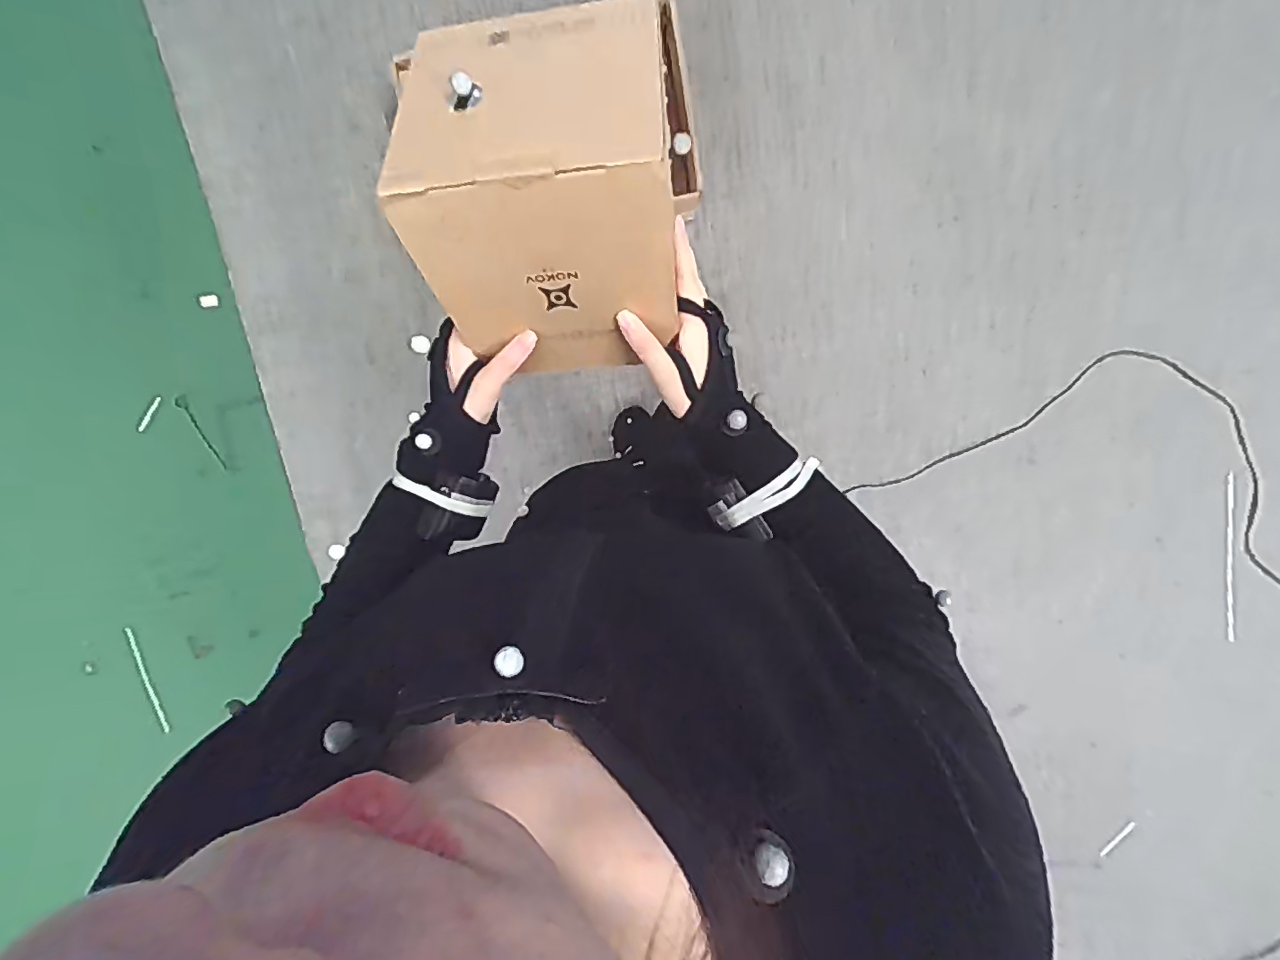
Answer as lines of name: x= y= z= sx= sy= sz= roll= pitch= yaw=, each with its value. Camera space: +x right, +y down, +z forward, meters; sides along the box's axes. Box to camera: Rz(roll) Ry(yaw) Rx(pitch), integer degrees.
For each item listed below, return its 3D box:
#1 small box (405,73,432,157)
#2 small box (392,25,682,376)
small box: x=-0.340 y=-0.671 z=1.074 sx=0.168 sy=0.176 sz=0.179 roll=-3 pitch=100 yaw=3
small box: x=-0.056 y=-0.204 z=0.411 sx=0.168 sy=0.179 sz=0.176 roll=-3 pitch=65 yaw=6
